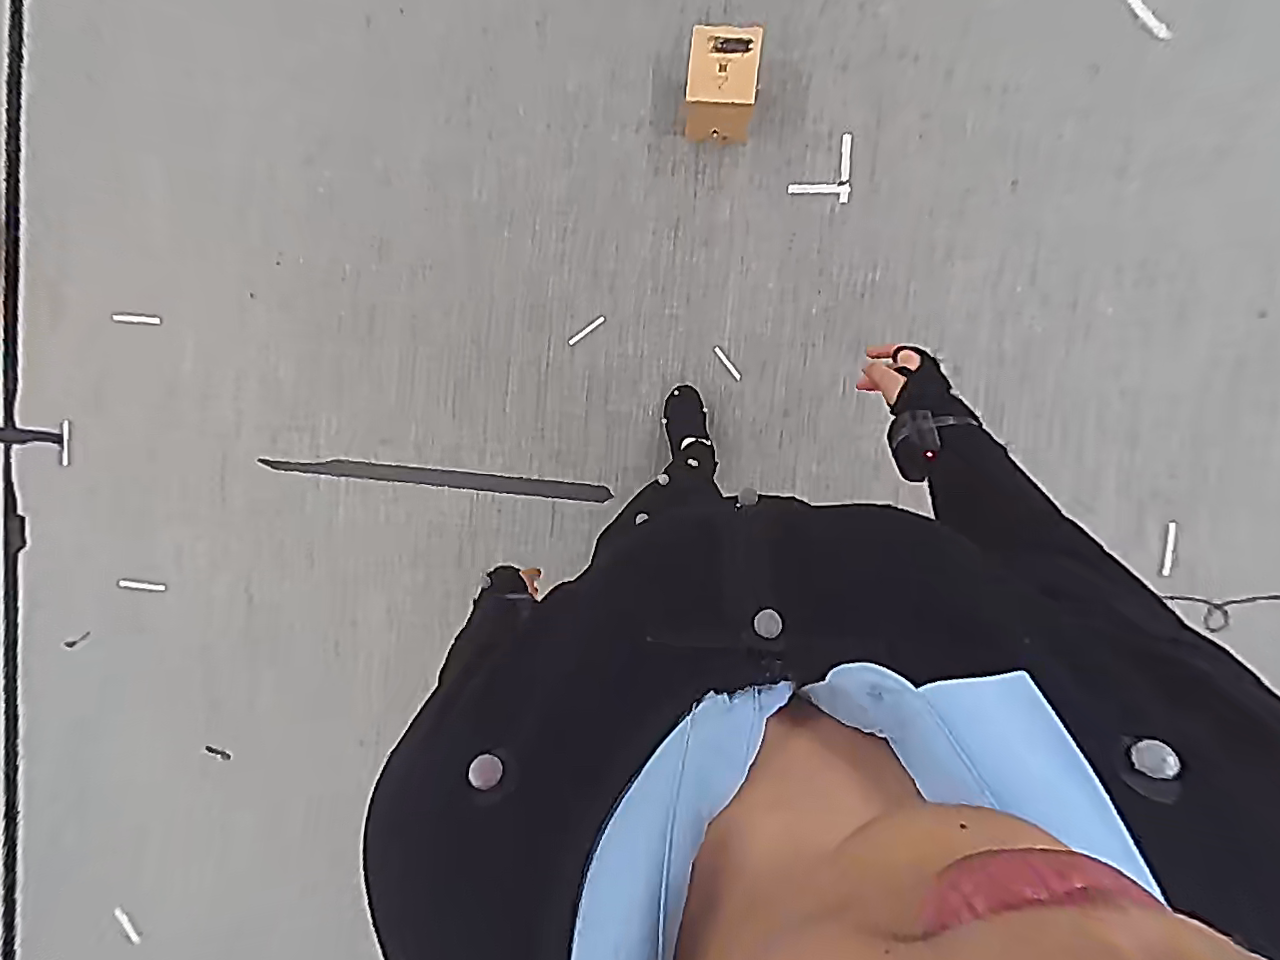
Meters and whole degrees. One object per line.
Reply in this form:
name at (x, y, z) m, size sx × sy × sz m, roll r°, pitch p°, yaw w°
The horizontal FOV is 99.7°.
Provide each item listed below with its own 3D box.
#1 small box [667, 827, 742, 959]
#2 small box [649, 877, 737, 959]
small box at (0.148, 0.947, 1.250) m, size 0.168 × 0.176 × 0.179 m, roll -1°, pitch 92°, yaw 6°
small box at (0.106, 0.952, 1.089) m, size 0.168 × 0.176 × 0.179 m, roll 0°, pitch 92°, yaw 5°
